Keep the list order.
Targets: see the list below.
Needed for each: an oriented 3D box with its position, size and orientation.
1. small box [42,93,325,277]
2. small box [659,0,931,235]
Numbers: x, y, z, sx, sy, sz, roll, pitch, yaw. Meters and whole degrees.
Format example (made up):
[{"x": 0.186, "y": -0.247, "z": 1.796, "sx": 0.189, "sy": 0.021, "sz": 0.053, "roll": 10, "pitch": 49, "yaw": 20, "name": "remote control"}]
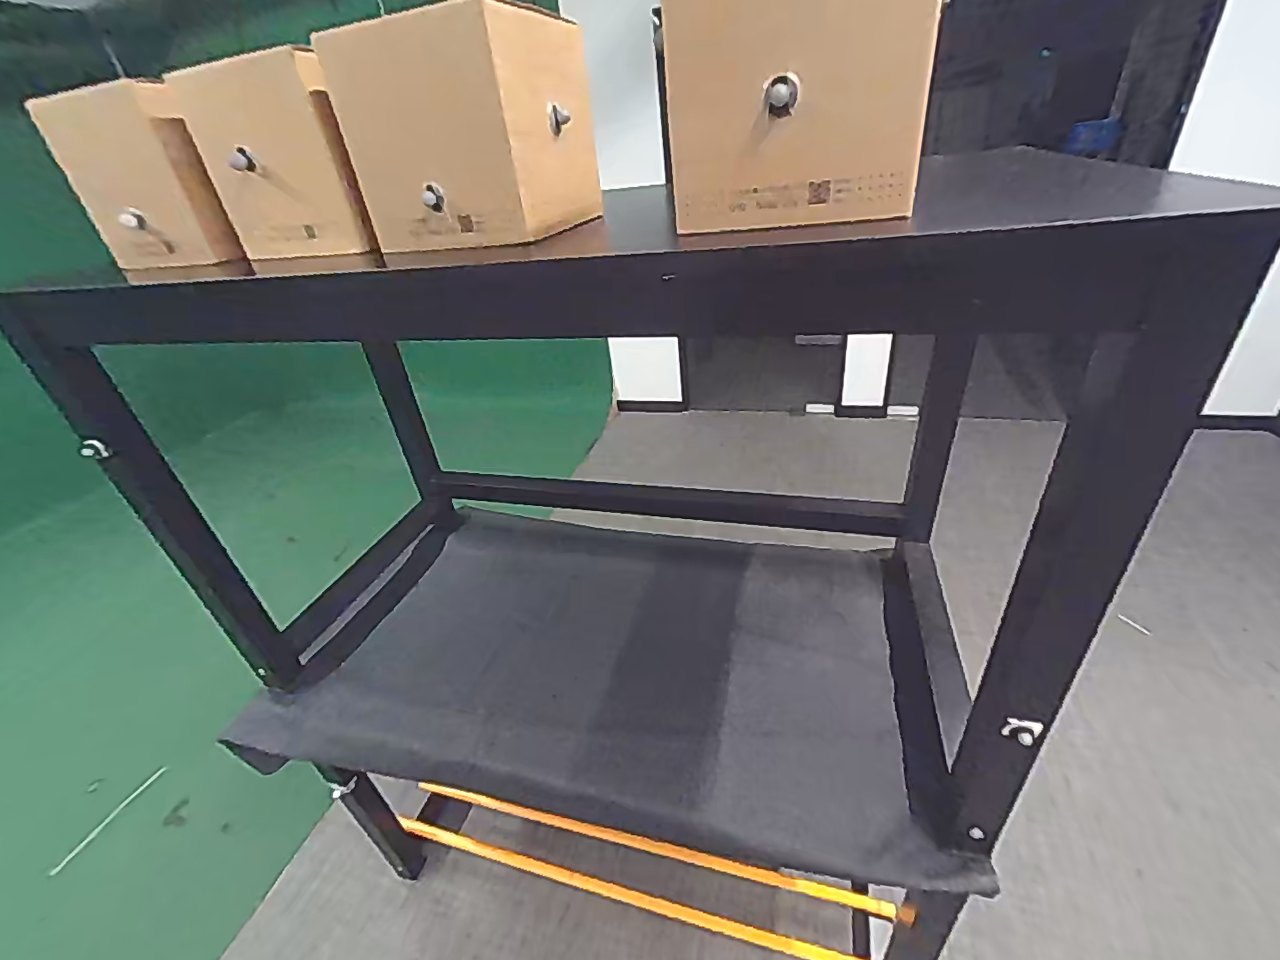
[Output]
[{"x": -0.518, "y": -0.351, "z": 0.650, "sx": 0.168, "sy": 0.176, "sz": 0.179, "roll": 5, "pitch": 35, "yaw": 19, "name": "small box"}, {"x": 0.122, "y": -0.293, "z": 0.420, "sx": 0.168, "sy": 0.176, "sz": 0.179, "roll": 4, "pitch": 33, "yaw": 18, "name": "small box"}]
